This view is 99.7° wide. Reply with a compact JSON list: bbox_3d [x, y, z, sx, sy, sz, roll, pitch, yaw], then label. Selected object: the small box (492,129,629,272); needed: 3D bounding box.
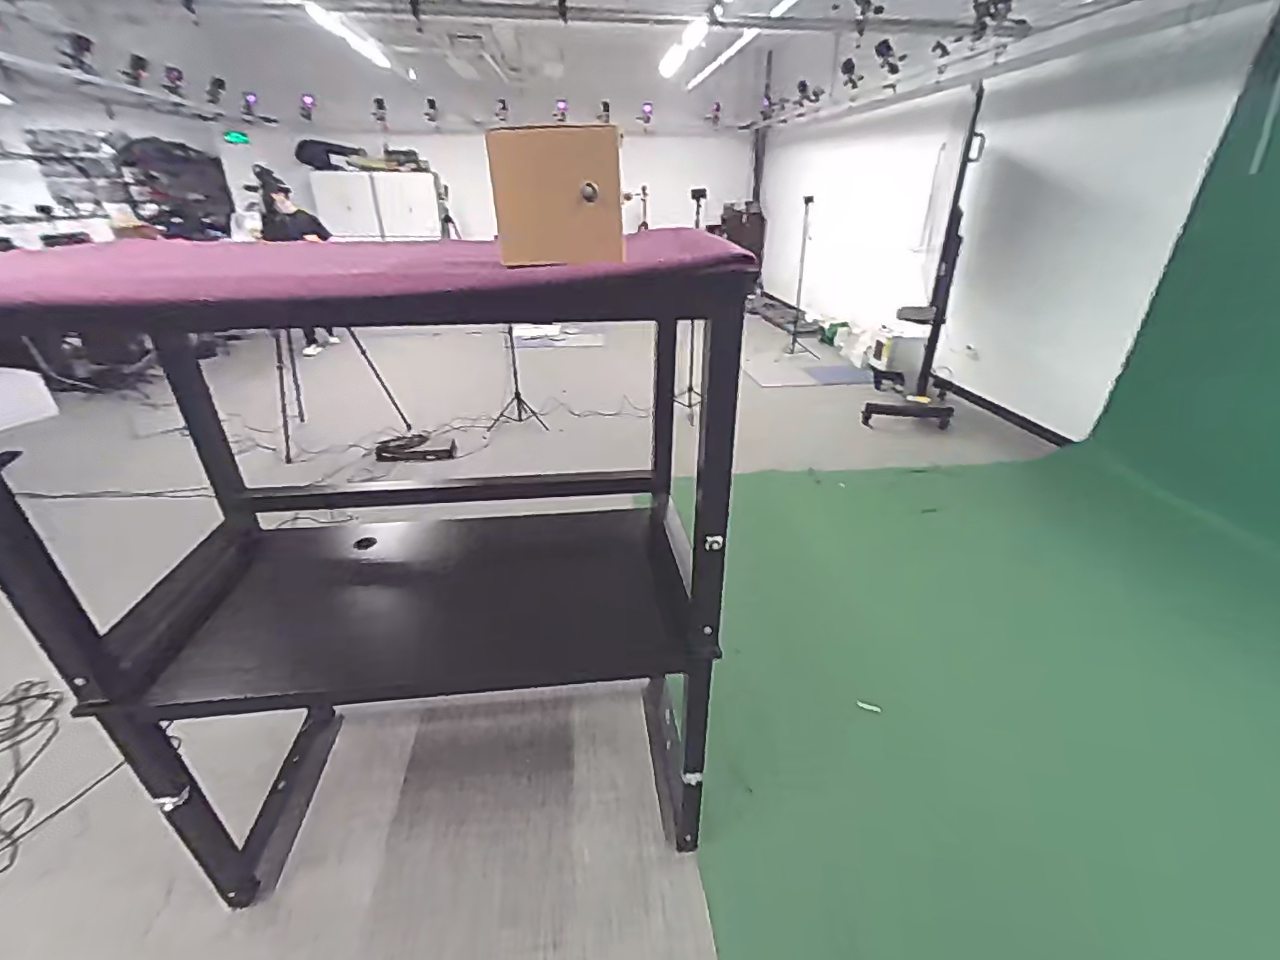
[{"bbox_3d":[-0.105,-0.408,0.802,0.179,0.176,0.168,-2,24,0],"label":"small box"}]
